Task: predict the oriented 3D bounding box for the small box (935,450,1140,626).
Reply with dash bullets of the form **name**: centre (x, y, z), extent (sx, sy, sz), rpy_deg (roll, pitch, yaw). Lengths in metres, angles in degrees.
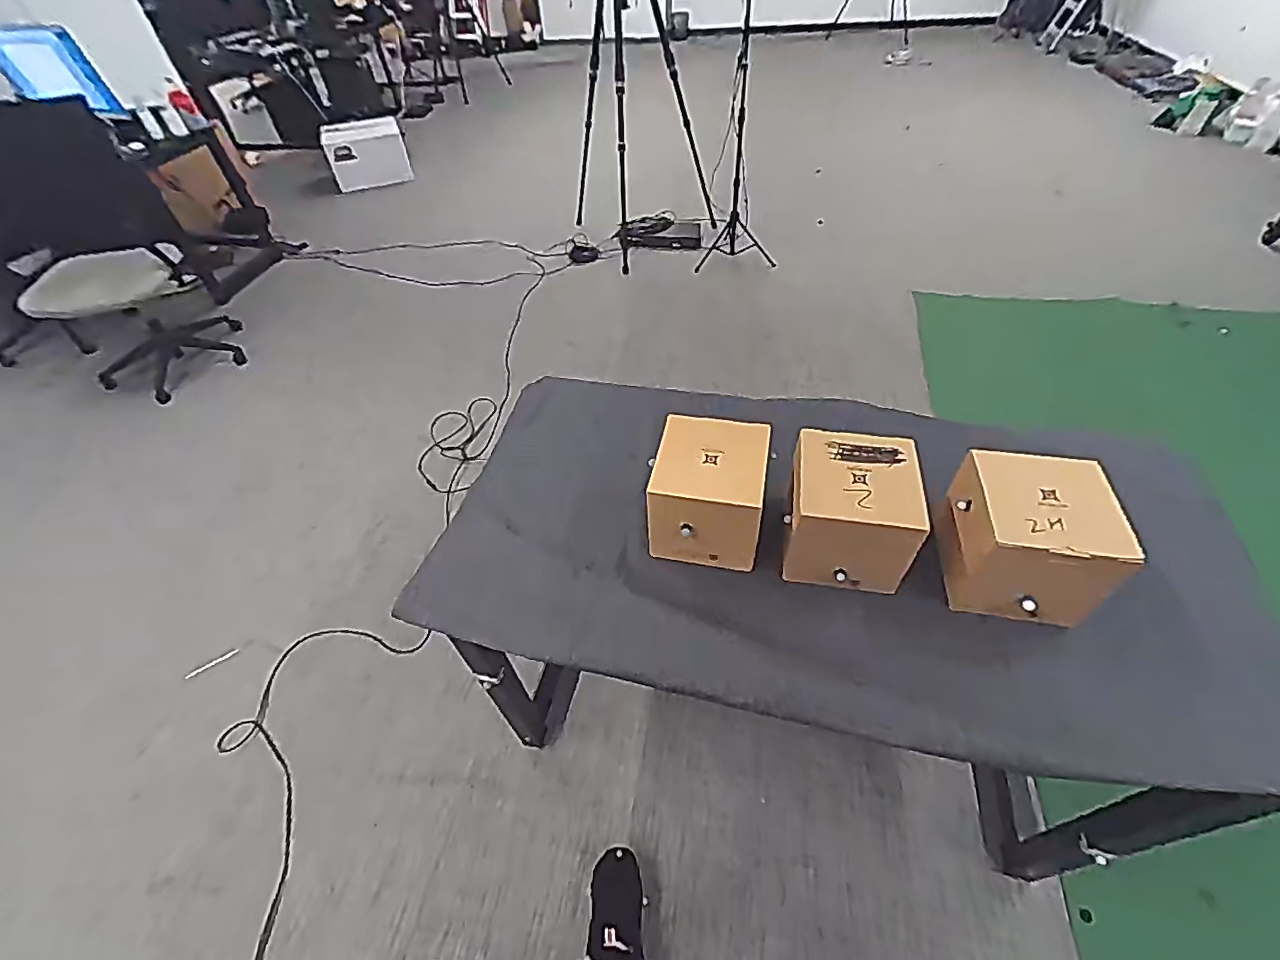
- **small box**: centre (0.548, 0.083, 0.780), extent (0.168, 0.176, 0.179), rpy_deg (6, 48, 11)
